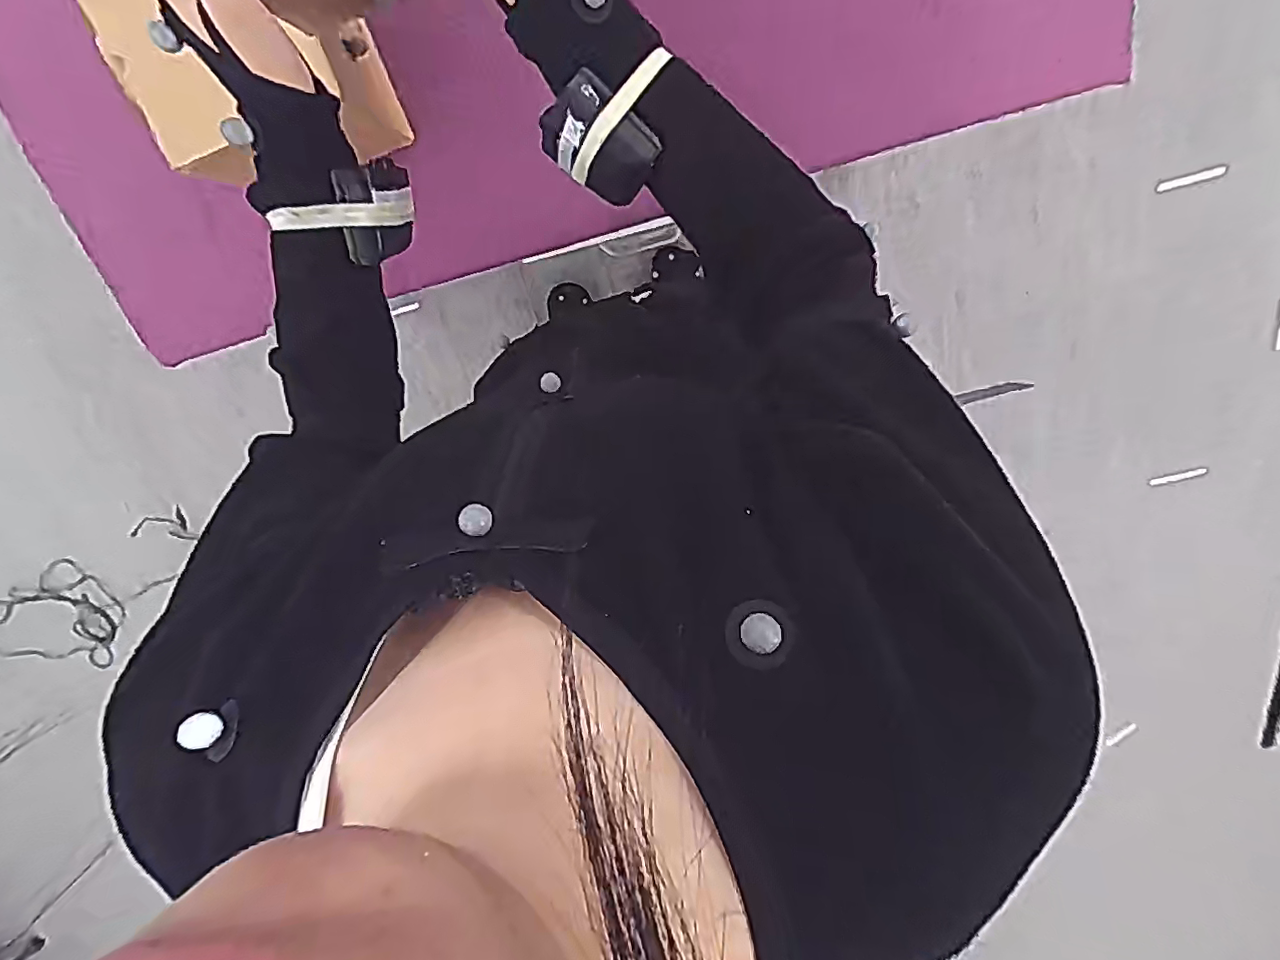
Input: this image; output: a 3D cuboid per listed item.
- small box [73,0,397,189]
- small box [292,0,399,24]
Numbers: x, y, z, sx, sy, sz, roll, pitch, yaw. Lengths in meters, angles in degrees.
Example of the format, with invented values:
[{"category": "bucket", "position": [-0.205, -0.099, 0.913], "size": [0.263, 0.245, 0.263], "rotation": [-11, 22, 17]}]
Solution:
[{"category": "small box", "position": [-0.364, -0.403, 0.520], "size": [0.179, 0.176, 0.168], "rotation": [-18, 111, 7]}, {"category": "small box", "position": [-0.188, -0.401, 0.295], "size": [0.168, 0.176, 0.179], "rotation": [-17, 118, 4]}]
